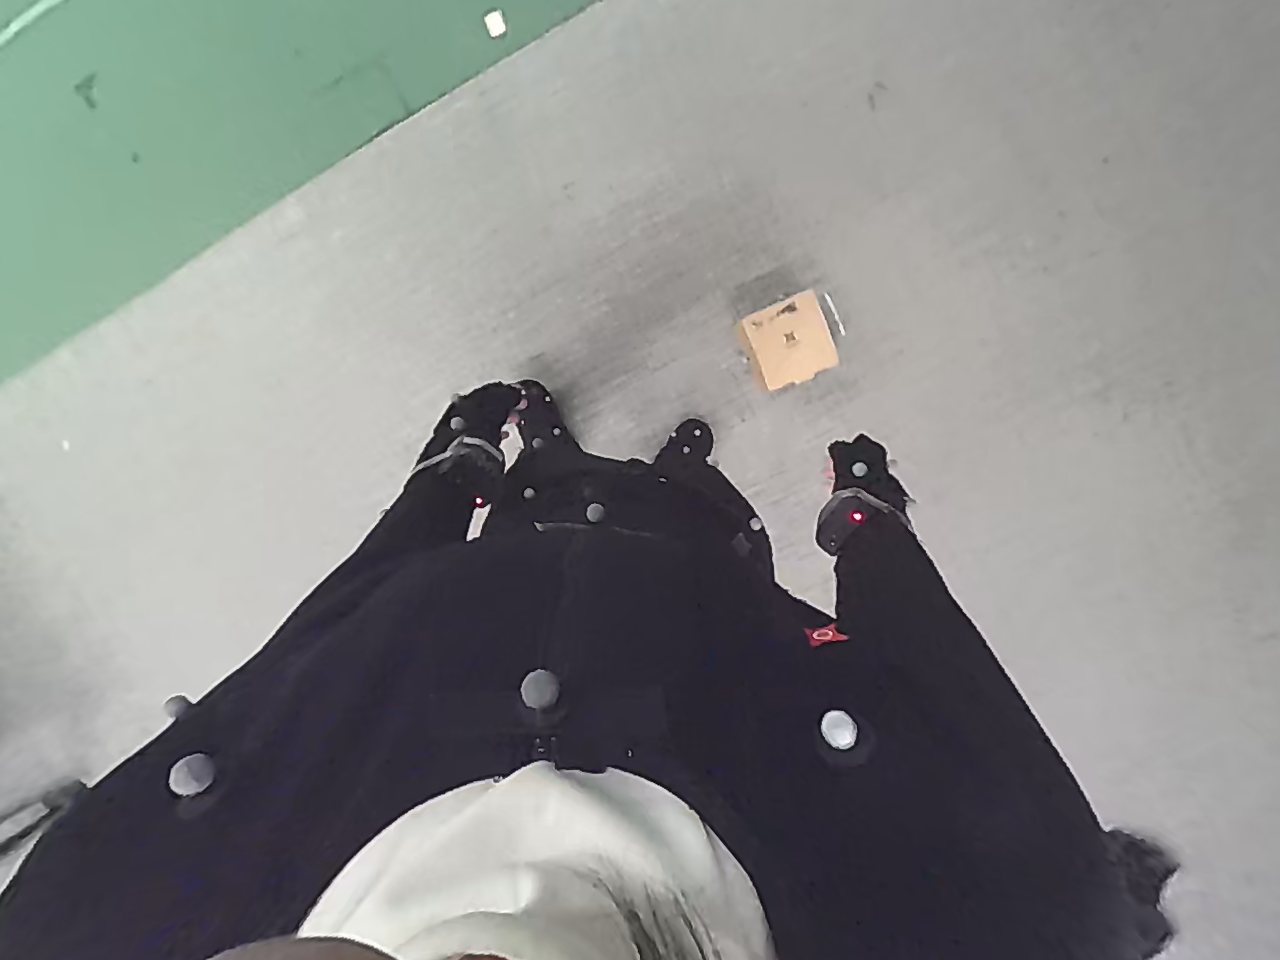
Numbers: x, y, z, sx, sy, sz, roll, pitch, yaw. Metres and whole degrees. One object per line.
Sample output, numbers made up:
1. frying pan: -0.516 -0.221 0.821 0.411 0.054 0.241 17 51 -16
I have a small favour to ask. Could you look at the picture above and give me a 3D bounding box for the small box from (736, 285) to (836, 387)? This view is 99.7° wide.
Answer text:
1. small box: 0.334 -0.331 1.265 0.168 0.176 0.179 -21 99 8
